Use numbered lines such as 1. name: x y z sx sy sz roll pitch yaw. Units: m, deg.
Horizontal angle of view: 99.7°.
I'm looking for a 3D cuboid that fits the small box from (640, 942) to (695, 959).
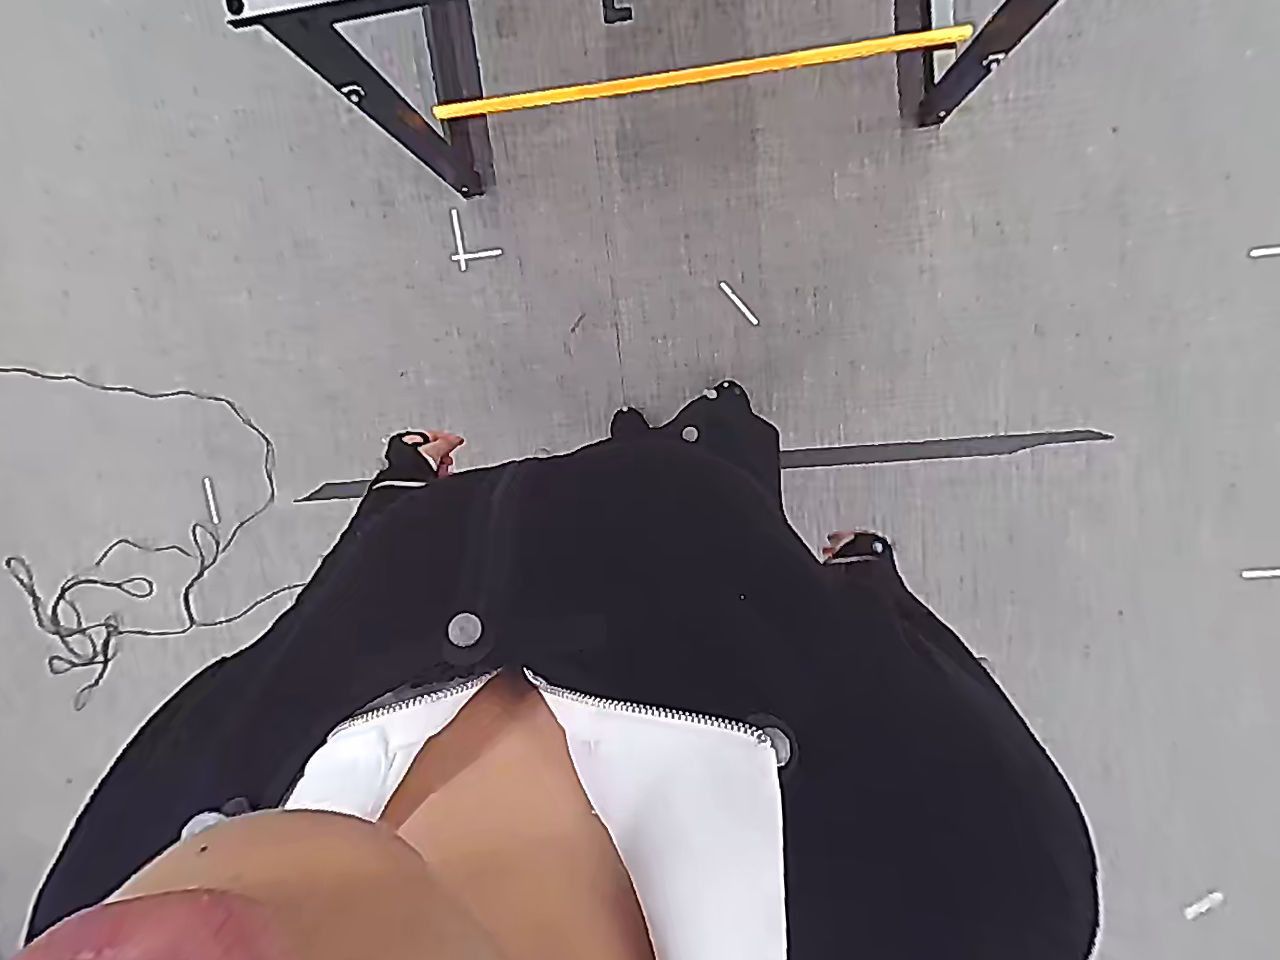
1. small box: 0.081 1.507 1.577 0.168 0.176 0.179 -1 100 5
